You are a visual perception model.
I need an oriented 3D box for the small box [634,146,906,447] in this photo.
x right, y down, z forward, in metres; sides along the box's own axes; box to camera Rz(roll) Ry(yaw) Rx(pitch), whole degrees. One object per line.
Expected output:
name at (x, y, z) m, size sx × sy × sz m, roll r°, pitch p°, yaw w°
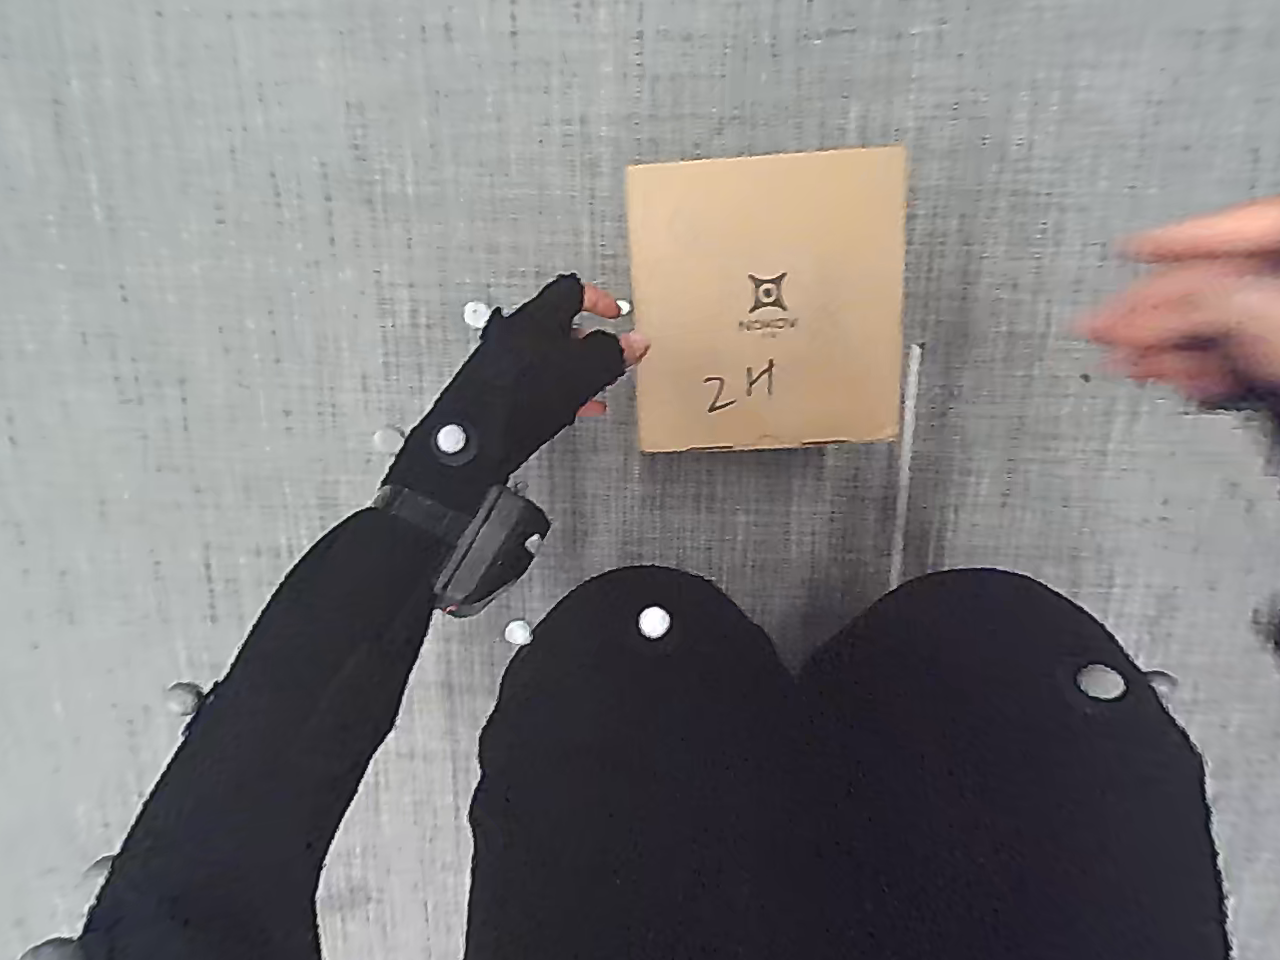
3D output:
small box at (0.081, -0.122, 0.413) m, size 0.168 × 0.176 × 0.179 m, roll -2°, pitch 100°, yaw 3°
